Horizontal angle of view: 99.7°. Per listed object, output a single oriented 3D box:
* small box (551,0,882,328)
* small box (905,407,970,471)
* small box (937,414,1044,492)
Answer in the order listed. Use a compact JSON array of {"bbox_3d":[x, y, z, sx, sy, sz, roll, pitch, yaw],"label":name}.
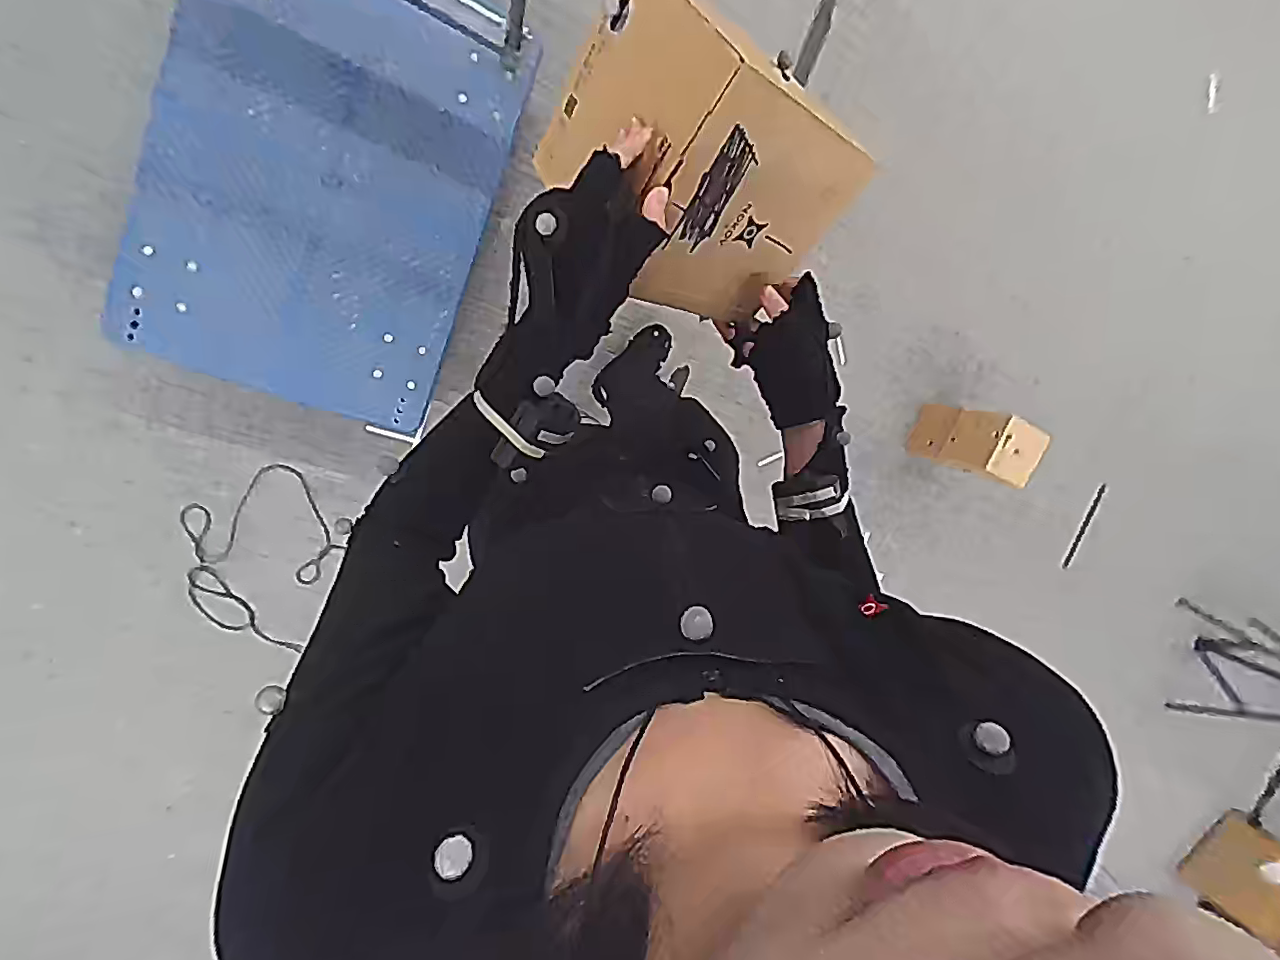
[{"bbox_3d":[0.051,-0.258,0.447,0.179,0.176,0.168,-1,146,-42],"label":"small box"},{"bbox_3d":[1.006,-0.129,1.766,0.168,0.176,0.179,15,98,-21],"label":"small box"},{"bbox_3d":[1.038,-0.087,1.611,0.179,0.176,0.168,21,96,-22],"label":"small box"}]
